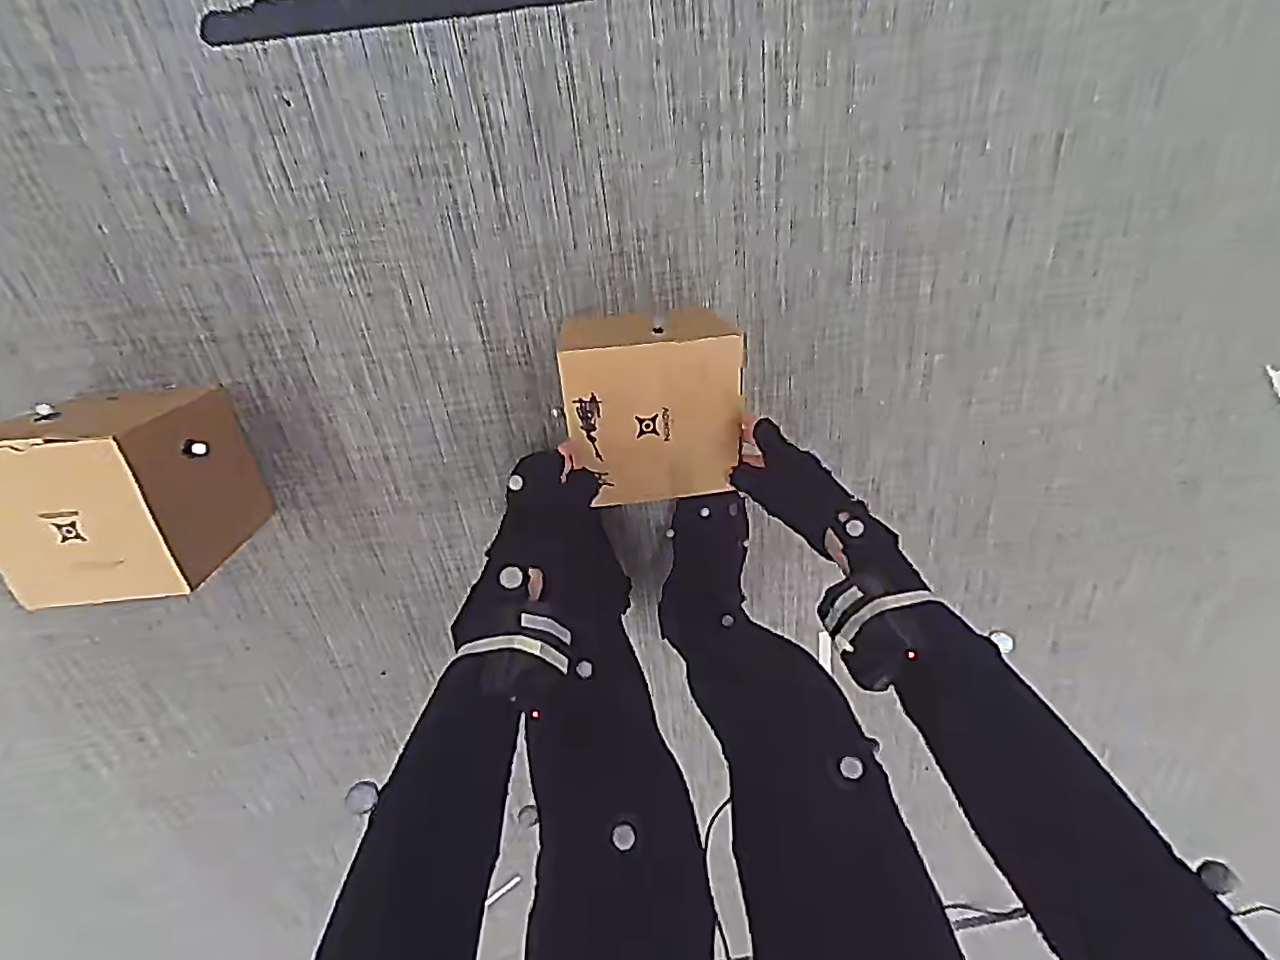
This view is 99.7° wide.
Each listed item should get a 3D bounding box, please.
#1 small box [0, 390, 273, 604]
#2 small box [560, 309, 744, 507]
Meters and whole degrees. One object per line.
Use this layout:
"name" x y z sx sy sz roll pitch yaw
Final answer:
"small box" -0.548 0.007 0.586 0.168 0.176 0.179 -5 116 -2
"small box" 0.006 -0.089 0.602 0.179 0.176 0.168 -7 116 -4
